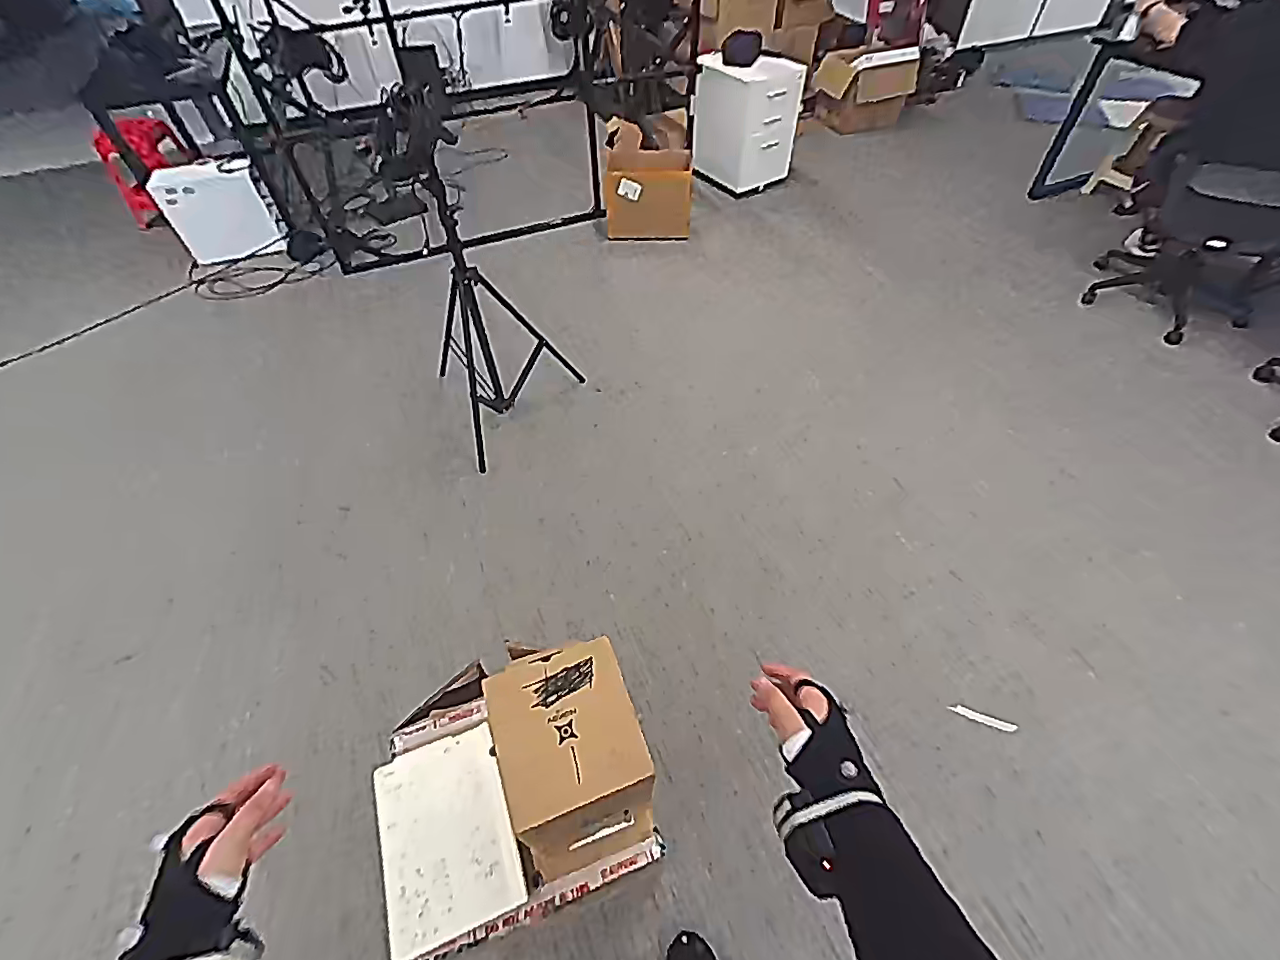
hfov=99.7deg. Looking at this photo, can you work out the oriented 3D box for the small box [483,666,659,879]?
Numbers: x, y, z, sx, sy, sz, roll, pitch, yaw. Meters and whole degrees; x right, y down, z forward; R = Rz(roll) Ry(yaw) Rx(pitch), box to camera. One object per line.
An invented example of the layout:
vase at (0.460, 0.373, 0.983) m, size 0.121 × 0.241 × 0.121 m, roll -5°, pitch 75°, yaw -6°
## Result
small box at (-0.087, 0.370, 0.682) m, size 0.168 × 0.176 × 0.179 m, roll -16°, pitch 54°, yaw -14°
